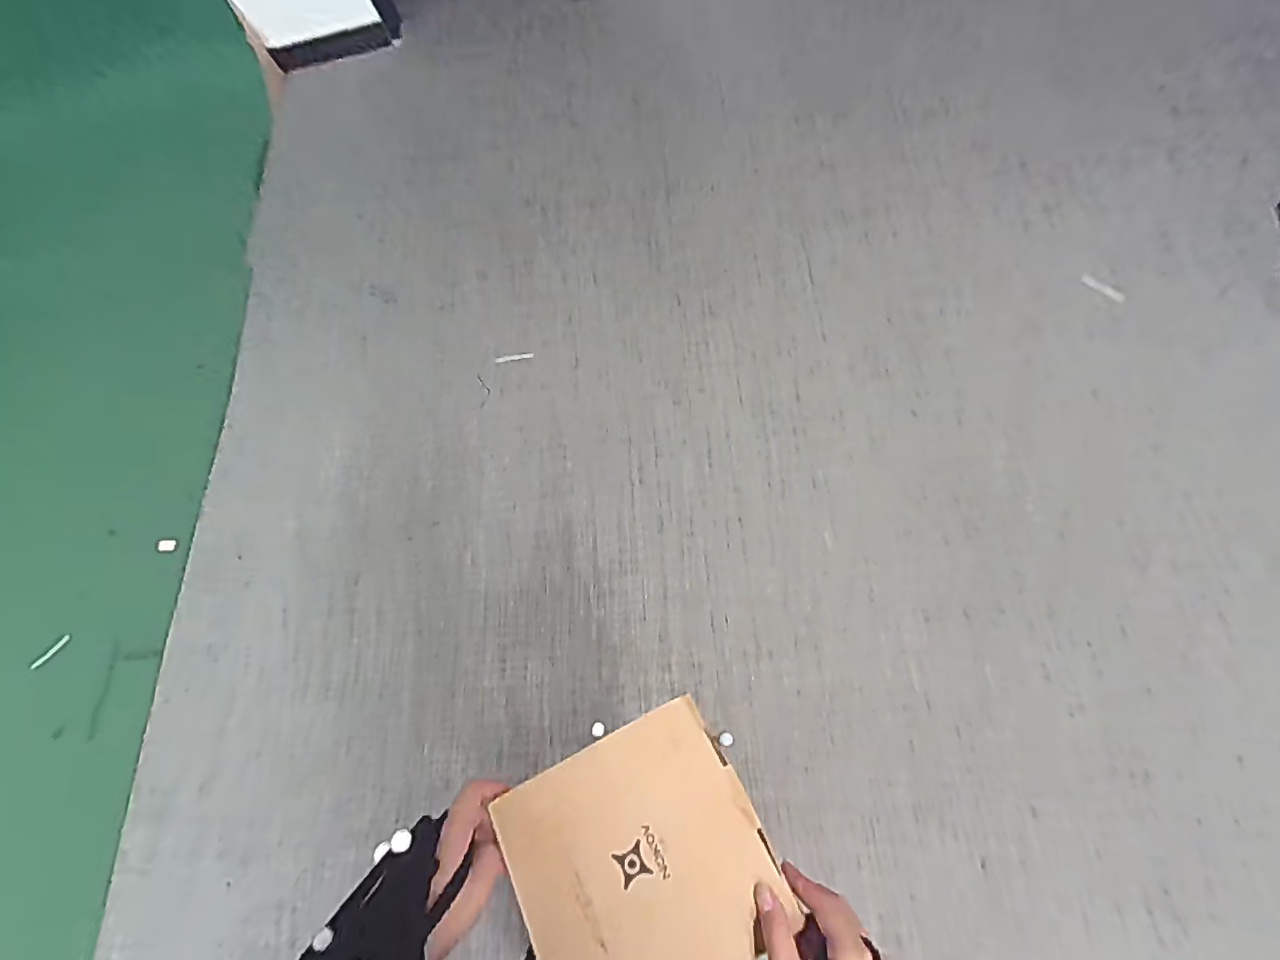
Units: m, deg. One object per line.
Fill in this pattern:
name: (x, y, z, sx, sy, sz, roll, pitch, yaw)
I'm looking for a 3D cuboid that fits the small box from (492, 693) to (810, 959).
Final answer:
small box: (0.010, 0.299, 0.451, 0.179, 0.176, 0.168, -29, 65, -6)
